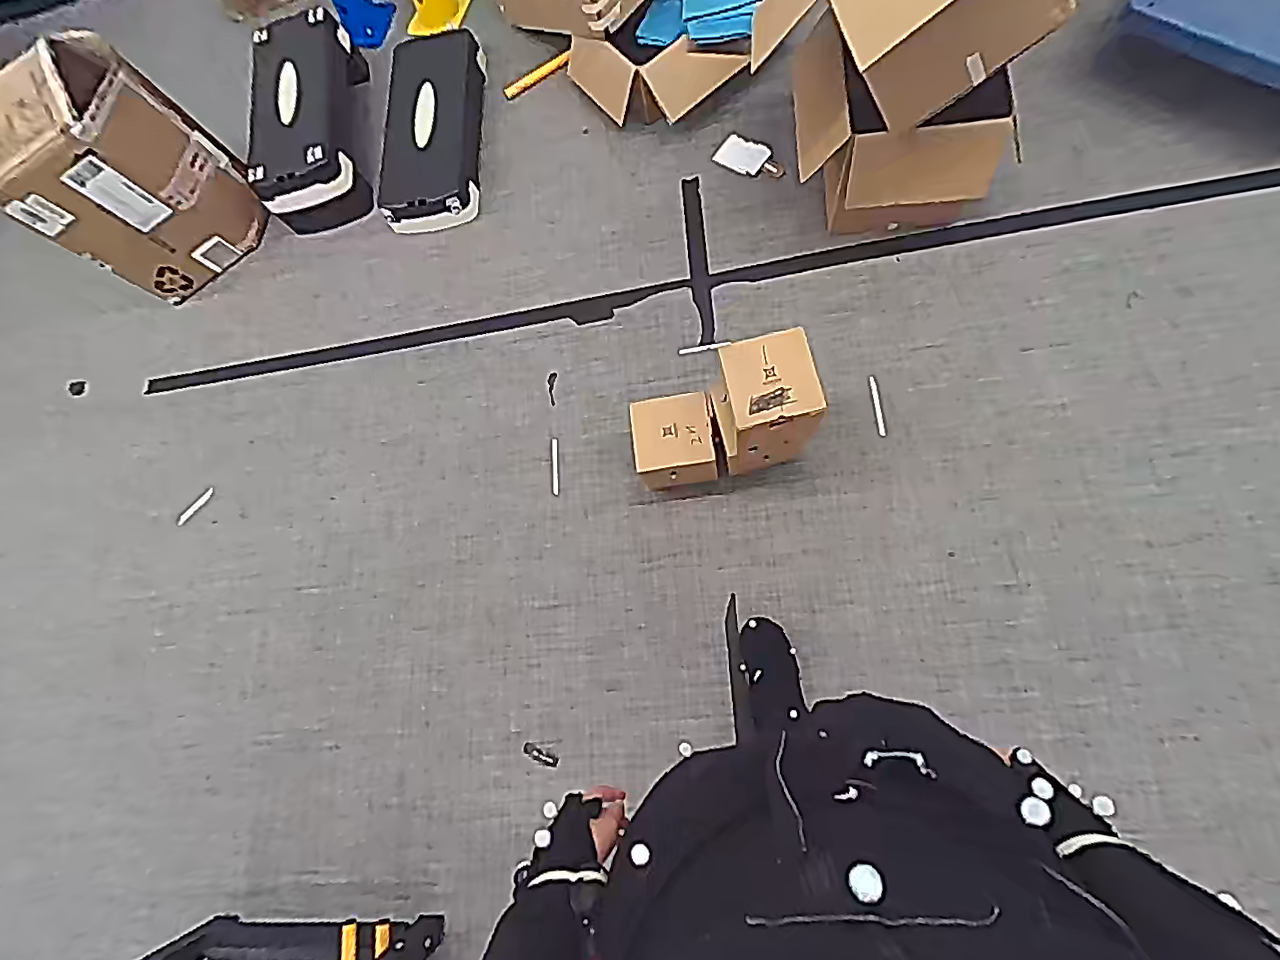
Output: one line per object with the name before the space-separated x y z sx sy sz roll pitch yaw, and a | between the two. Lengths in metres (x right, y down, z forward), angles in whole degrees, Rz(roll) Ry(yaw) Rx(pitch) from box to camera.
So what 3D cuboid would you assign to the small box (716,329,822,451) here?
small box | 0.253 -0.168 1.081 0.168 0.176 0.179 -12 73 7
